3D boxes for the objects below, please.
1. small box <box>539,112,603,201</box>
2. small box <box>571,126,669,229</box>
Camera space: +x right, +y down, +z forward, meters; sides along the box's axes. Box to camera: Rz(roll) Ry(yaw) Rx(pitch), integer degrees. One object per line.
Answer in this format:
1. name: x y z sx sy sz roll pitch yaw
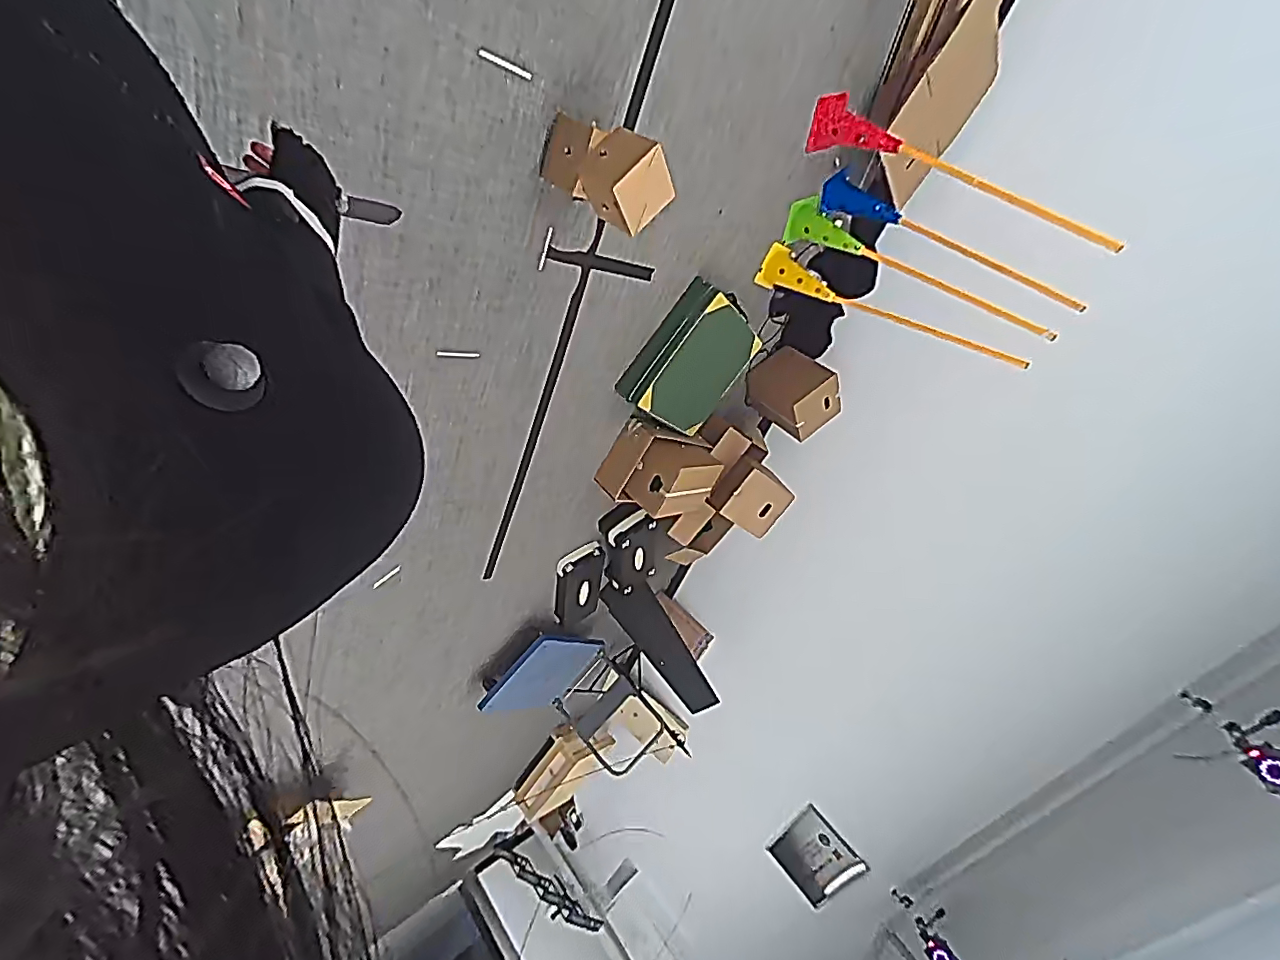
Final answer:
1. small box: -0.169 -0.921 1.560 0.168 0.176 0.179 -11 134 -49
2. small box: -0.052 -0.824 1.489 0.179 0.176 0.168 -47 152 -3
